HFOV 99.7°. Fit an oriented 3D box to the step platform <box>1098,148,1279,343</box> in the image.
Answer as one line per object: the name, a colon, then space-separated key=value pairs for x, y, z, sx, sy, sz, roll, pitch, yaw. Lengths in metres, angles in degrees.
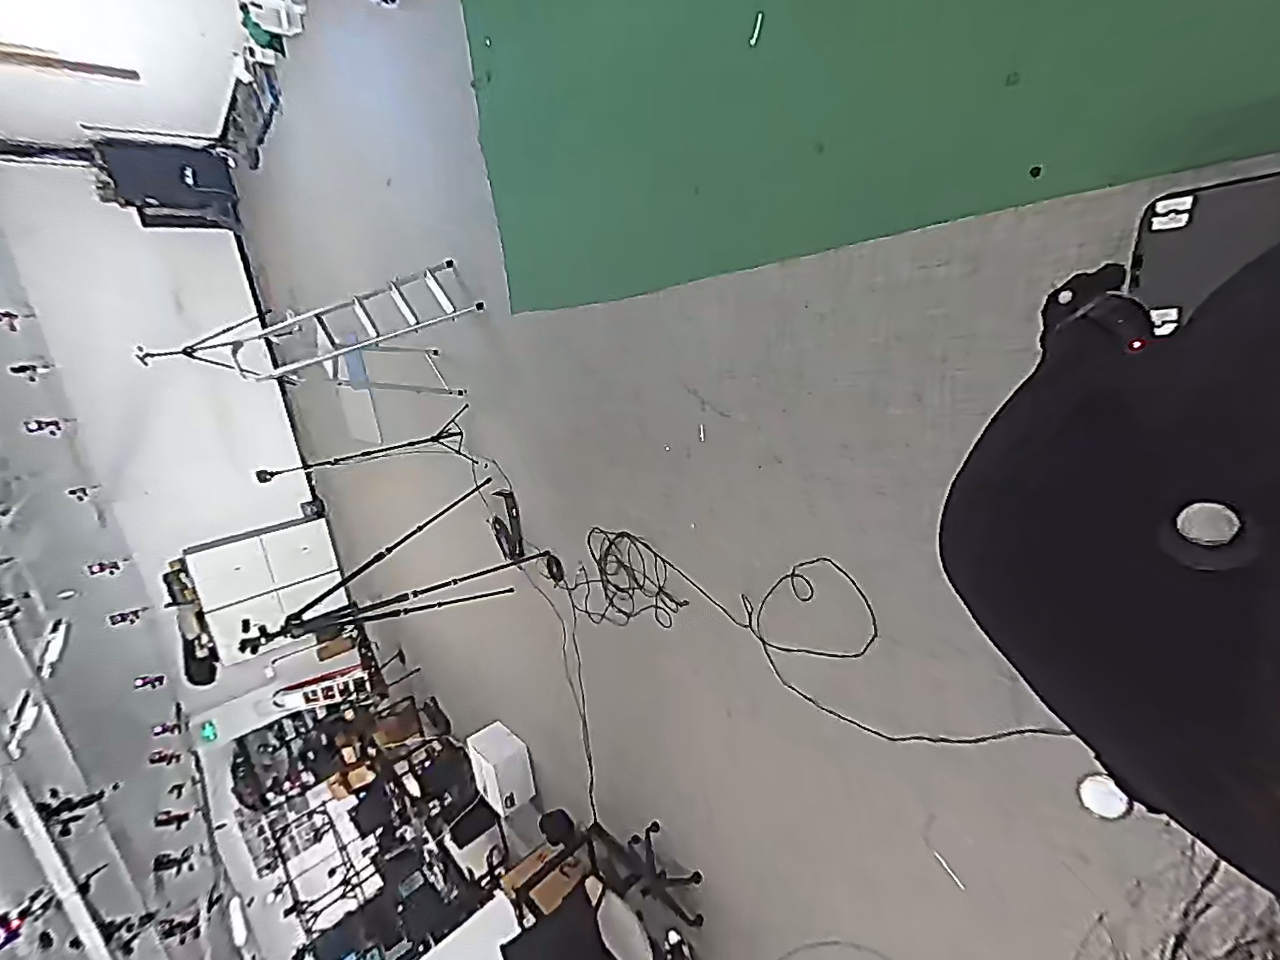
step platform: x=1.112 y=-0.377 z=0.769 sx=0.684 sy=0.204 sz=0.286 roll=8 pitch=112 yaw=48
